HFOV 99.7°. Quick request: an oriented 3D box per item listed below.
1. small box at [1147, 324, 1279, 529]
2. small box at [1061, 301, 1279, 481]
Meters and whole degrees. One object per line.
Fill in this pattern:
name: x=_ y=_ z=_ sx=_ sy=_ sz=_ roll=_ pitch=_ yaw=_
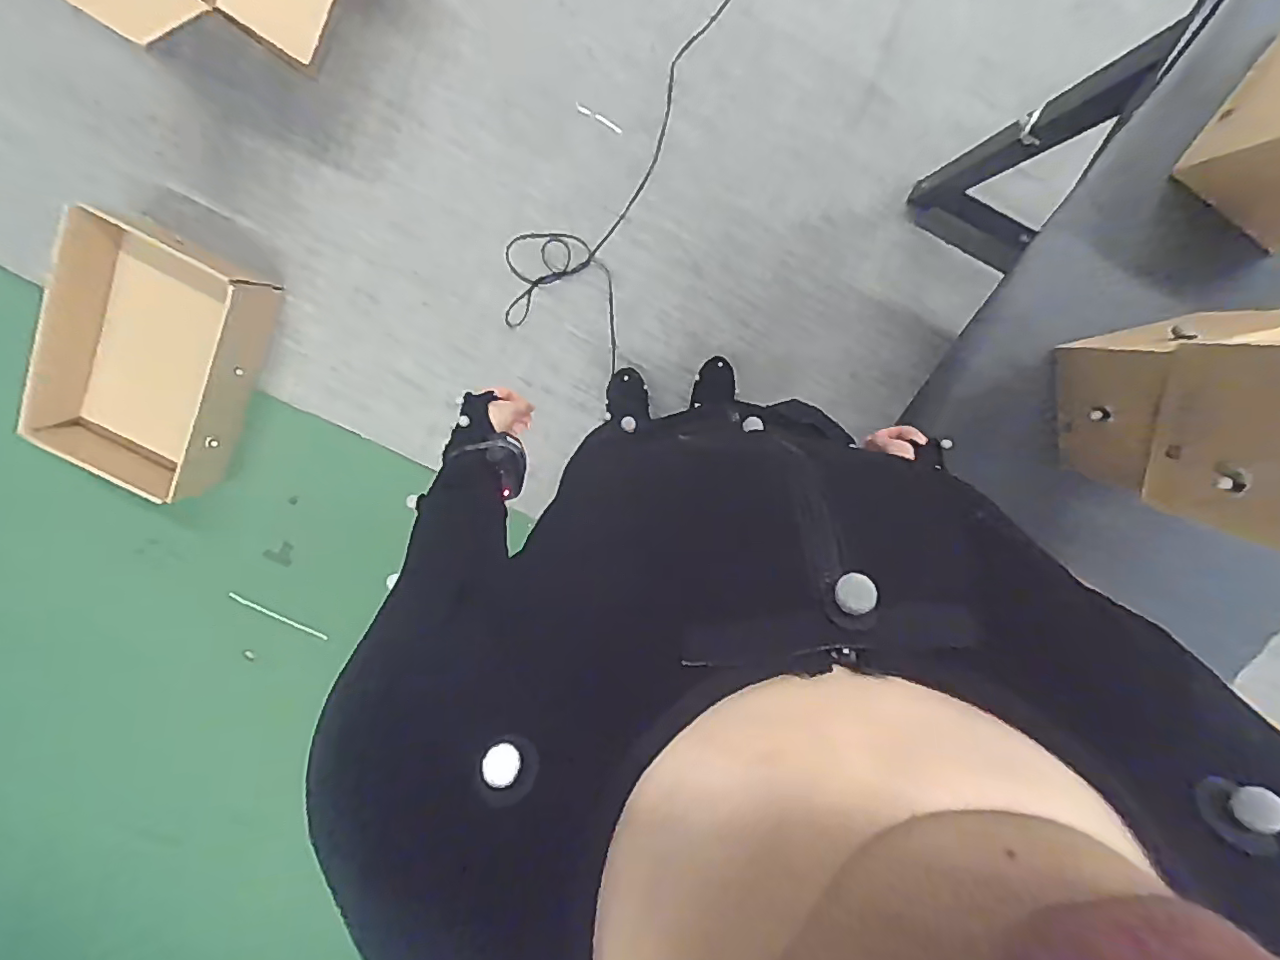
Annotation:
small box: x=0.603 y=-0.048 z=0.464 sx=0.179 sy=0.176 sz=0.168 roll=-2 pitch=106 yaw=1
small box: x=0.621 y=-0.100 z=0.618 sx=0.179 sy=0.176 sz=0.168 roll=-13 pitch=104 yaw=5
